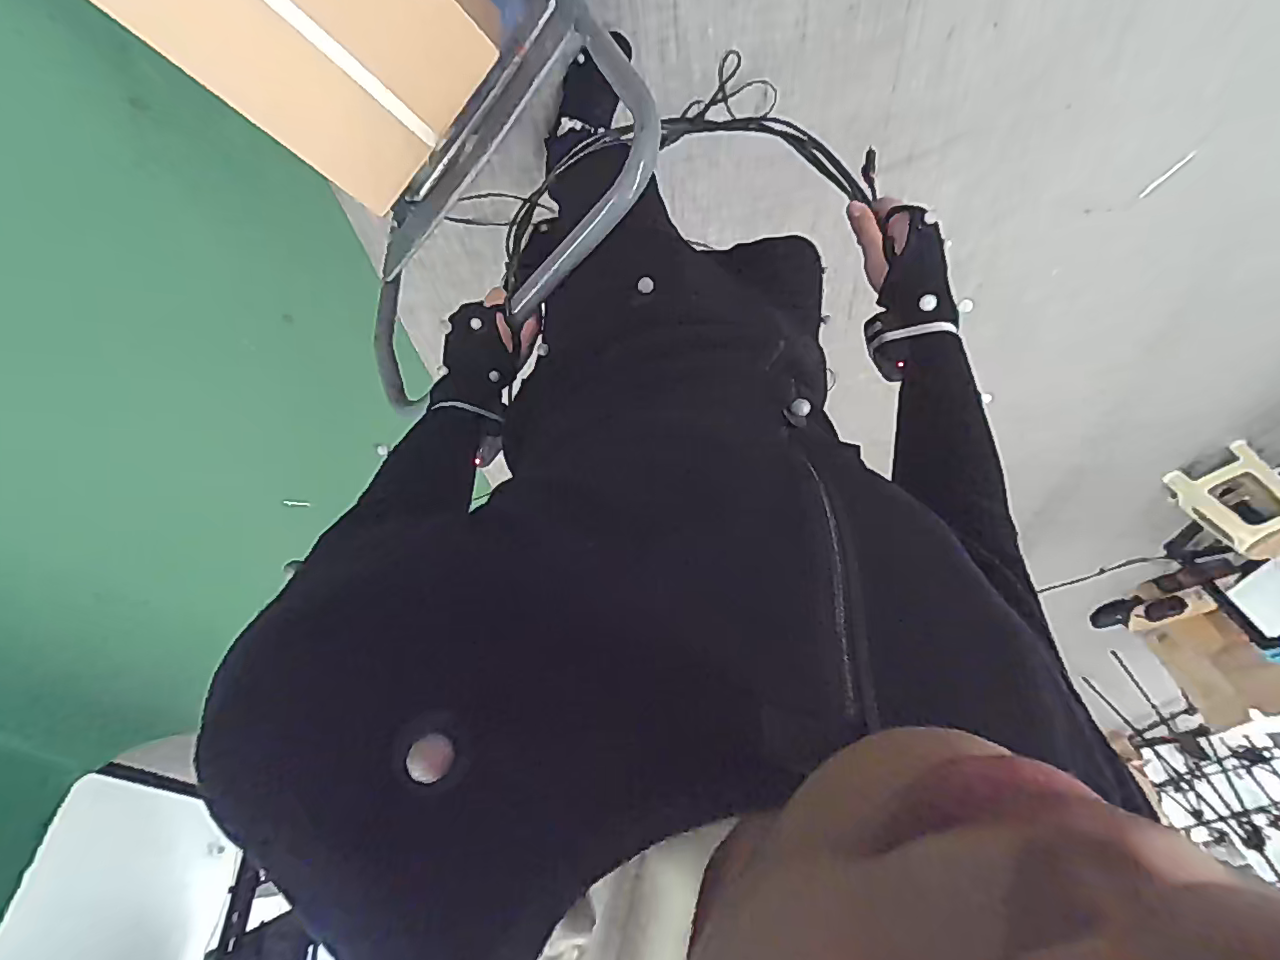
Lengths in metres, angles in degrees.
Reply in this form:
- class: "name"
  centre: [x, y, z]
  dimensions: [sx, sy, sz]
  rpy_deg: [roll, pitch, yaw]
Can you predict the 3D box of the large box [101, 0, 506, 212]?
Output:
- class: "large box"
  centre: [-0.454, -0.703, 0.795]
  dimensions: [0.320, 0.320, 0.408]
  rpy_deg: [-36, 133, 24]
